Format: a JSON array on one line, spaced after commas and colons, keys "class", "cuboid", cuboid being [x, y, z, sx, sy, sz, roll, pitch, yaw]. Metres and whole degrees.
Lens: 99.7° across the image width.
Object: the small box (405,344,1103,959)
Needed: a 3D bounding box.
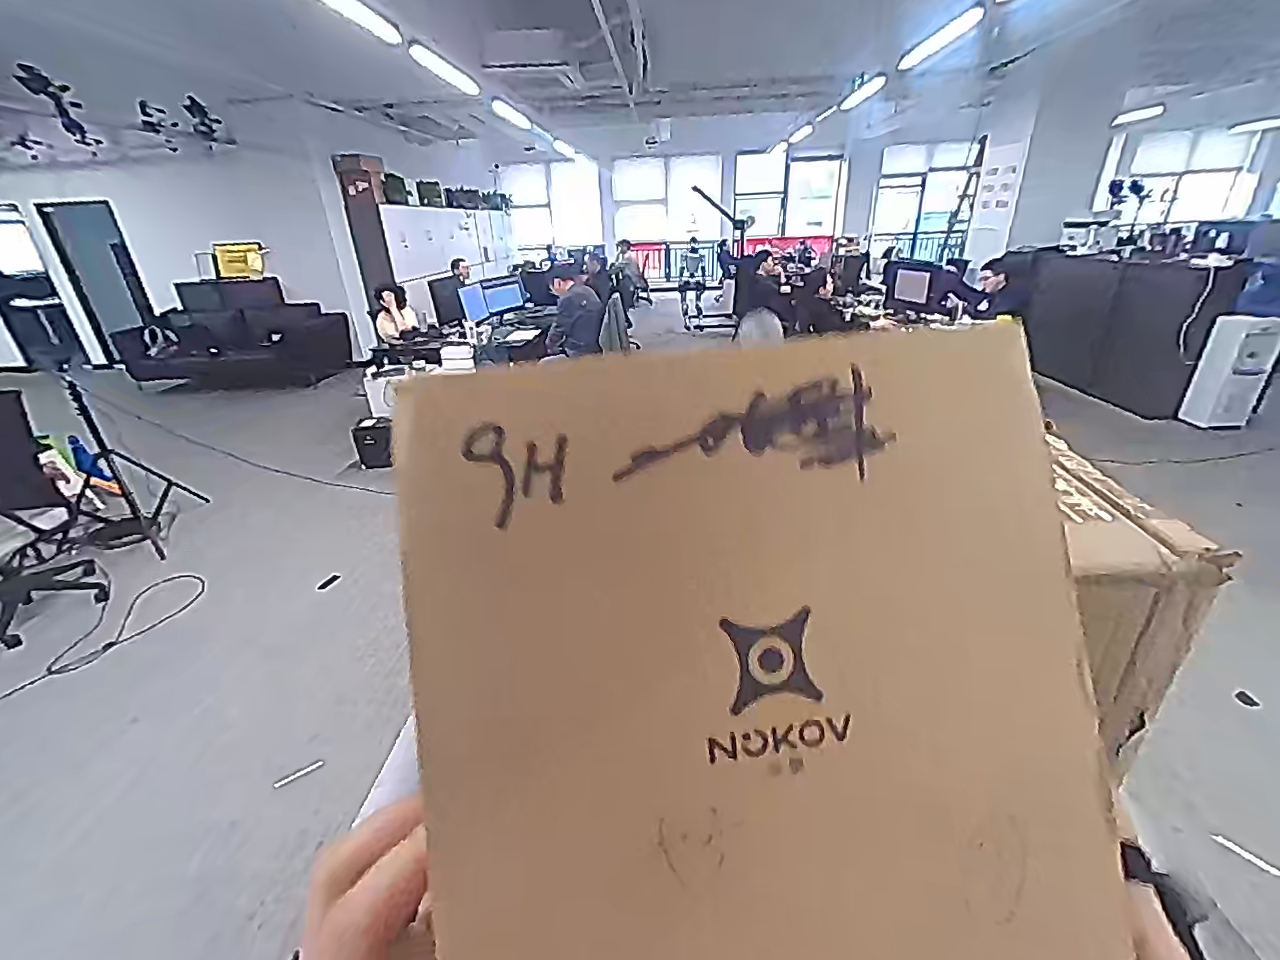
[{"class": "small box", "cuboid": [0.024, 0.060, 0.215, 0.168, 0.179, 0.176, -6, -4, -6]}]
